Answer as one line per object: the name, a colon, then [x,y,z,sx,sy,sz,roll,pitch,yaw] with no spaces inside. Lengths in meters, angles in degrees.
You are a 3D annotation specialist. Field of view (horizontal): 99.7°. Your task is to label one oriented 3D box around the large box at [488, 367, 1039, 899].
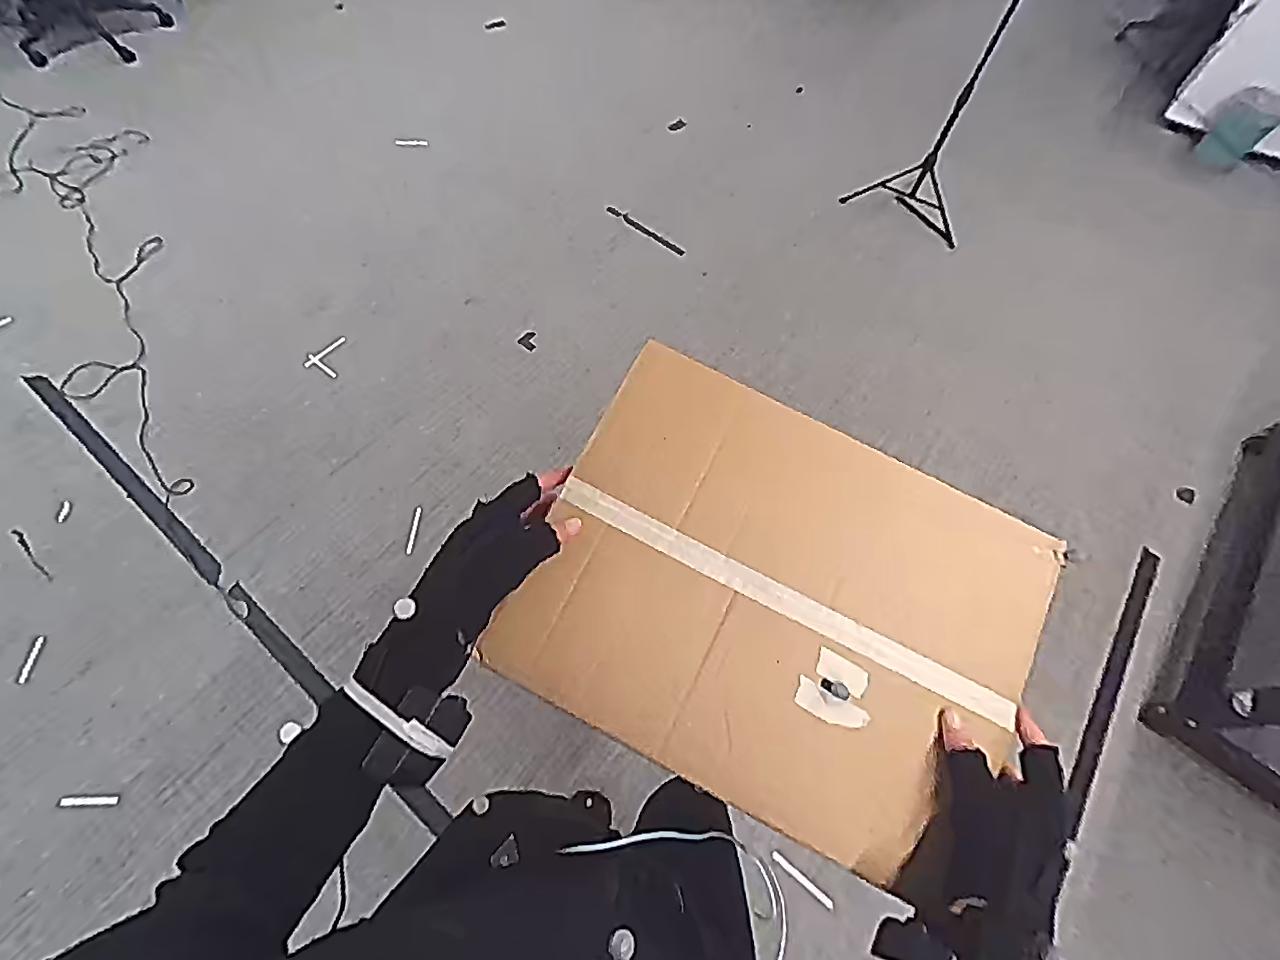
large box: [0.108,0.142,0.608,0.408,0.320,0.320,28,78,4]
